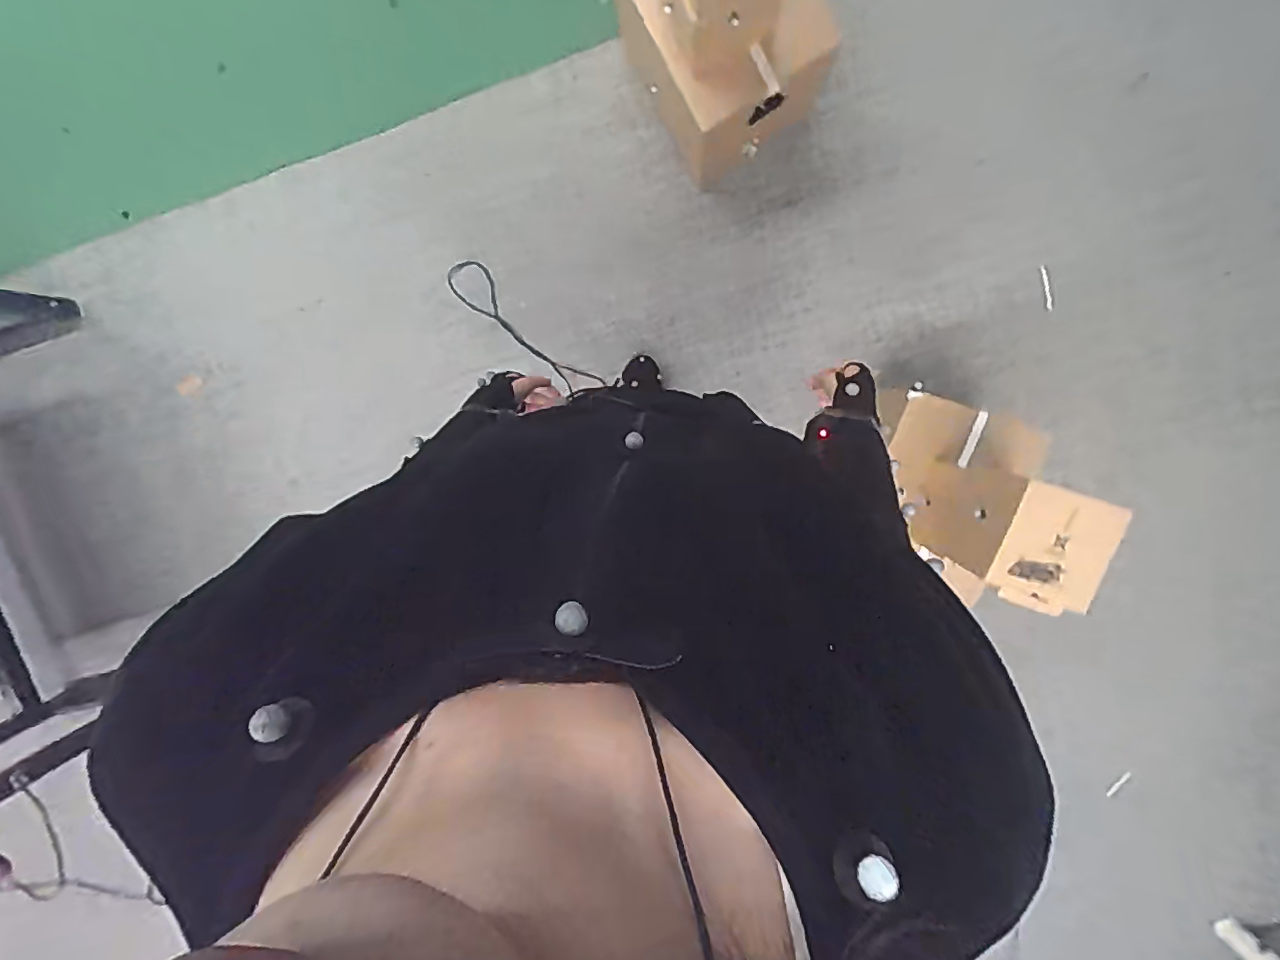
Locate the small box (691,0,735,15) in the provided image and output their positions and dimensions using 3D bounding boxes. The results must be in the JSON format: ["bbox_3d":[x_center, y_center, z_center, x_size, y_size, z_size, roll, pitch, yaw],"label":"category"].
[{"bbox_3d":[0.129,-0.853,0.789,0.168,0.176,0.179,-23,98,8],"label":"small box"}]

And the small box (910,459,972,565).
[{"bbox_3d":[0.666,0.069,1.070,0.168,0.176,0.179,14,101,0],"label":"small box"}]

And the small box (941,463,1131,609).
[{"bbox_3d":[0.643,0.084,0.907,0.168,0.176,0.179,18,99,0],"label":"small box"}]

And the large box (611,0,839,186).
[{"bbox_3d":[0.165,-0.958,1.183,0.320,0.320,0.408,-30,95,7],"label":"large box"}]

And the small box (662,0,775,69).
[{"bbox_3d":[0.134,-0.880,0.948,0.179,0.176,0.168,-24,98,8],"label":"small box"}]
